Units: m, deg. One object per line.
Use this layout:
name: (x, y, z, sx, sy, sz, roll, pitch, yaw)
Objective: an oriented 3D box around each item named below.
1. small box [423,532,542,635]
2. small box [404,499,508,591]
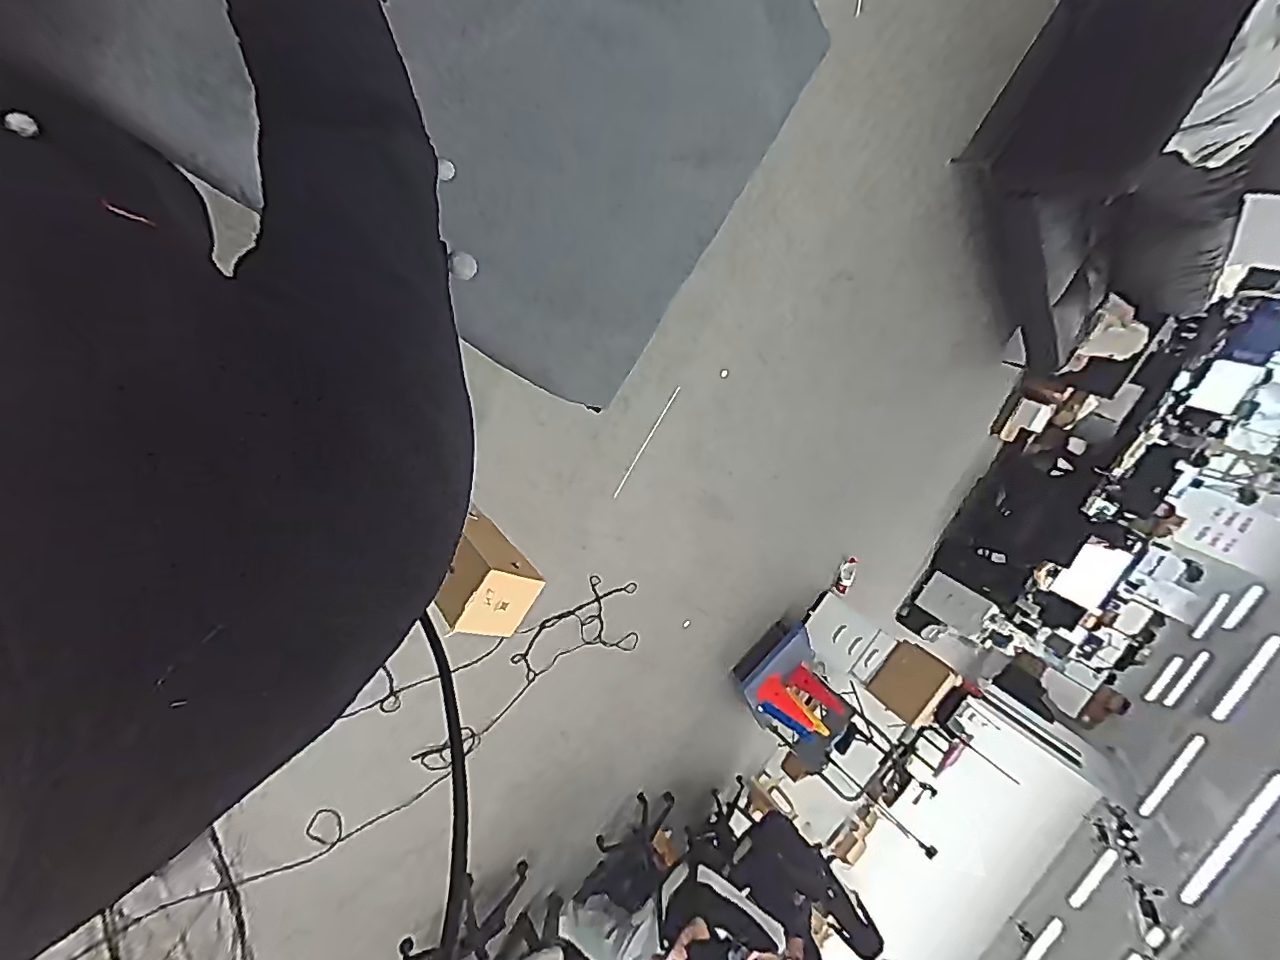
small box: (-0.375, 0.244, 1.282, 0.179, 0.176, 0.168, 29, 96, -50)
small box: (-0.480, 0.176, 1.389, 0.168, 0.176, 0.179, 26, 97, -50)
